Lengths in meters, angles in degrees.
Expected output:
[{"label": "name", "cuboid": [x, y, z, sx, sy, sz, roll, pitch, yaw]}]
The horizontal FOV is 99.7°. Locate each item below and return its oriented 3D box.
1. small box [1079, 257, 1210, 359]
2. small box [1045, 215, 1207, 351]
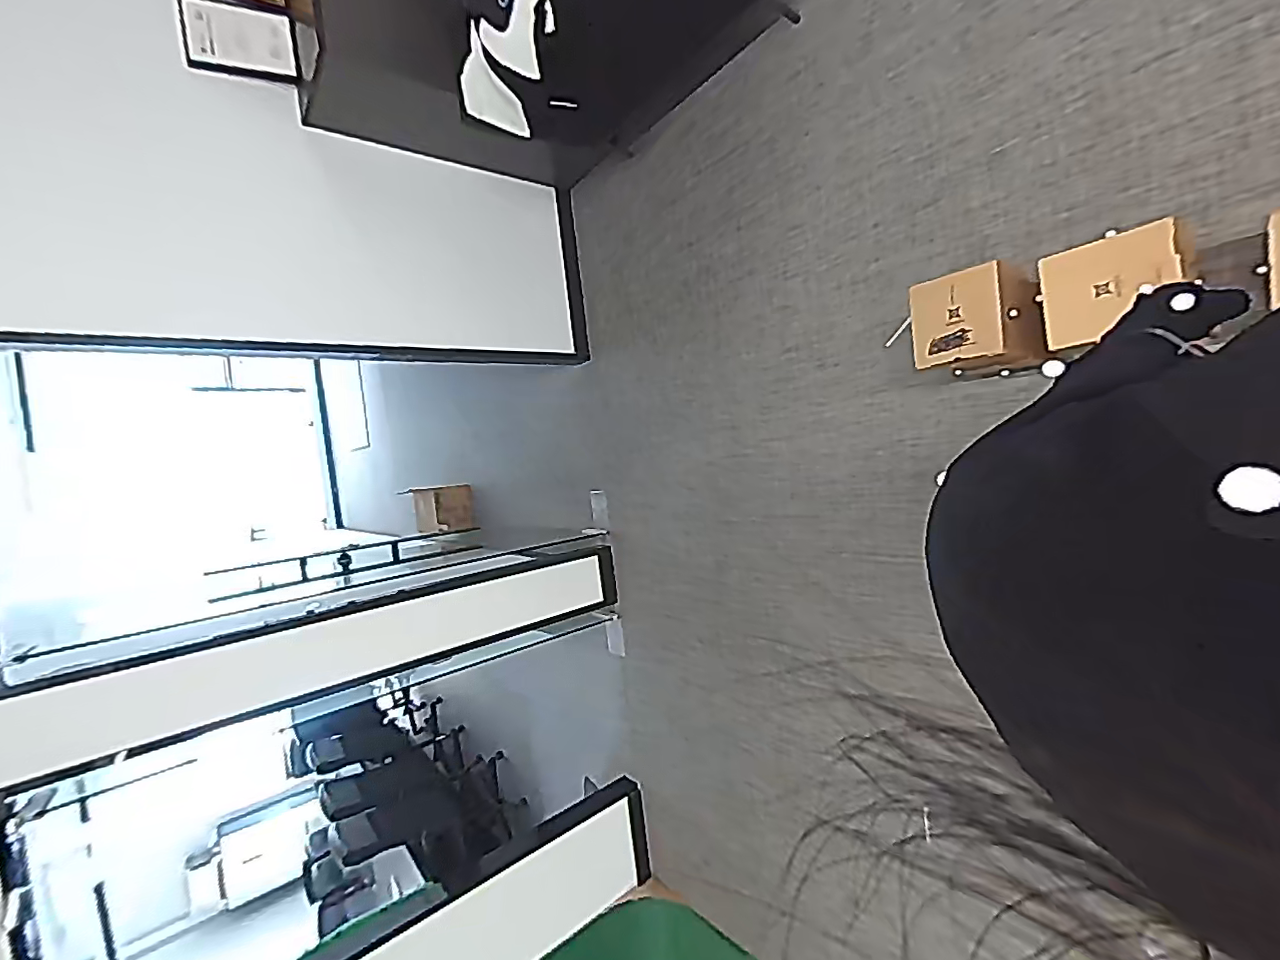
[{"label": "small box", "cuboid": [0.965, -0.339, 1.043, 0.168, 0.176, 0.179, -6, 91, 53]}, {"label": "small box", "cuboid": [0.842, -0.326, 0.938, 0.179, 0.176, 0.168, -8, 91, 51]}]
